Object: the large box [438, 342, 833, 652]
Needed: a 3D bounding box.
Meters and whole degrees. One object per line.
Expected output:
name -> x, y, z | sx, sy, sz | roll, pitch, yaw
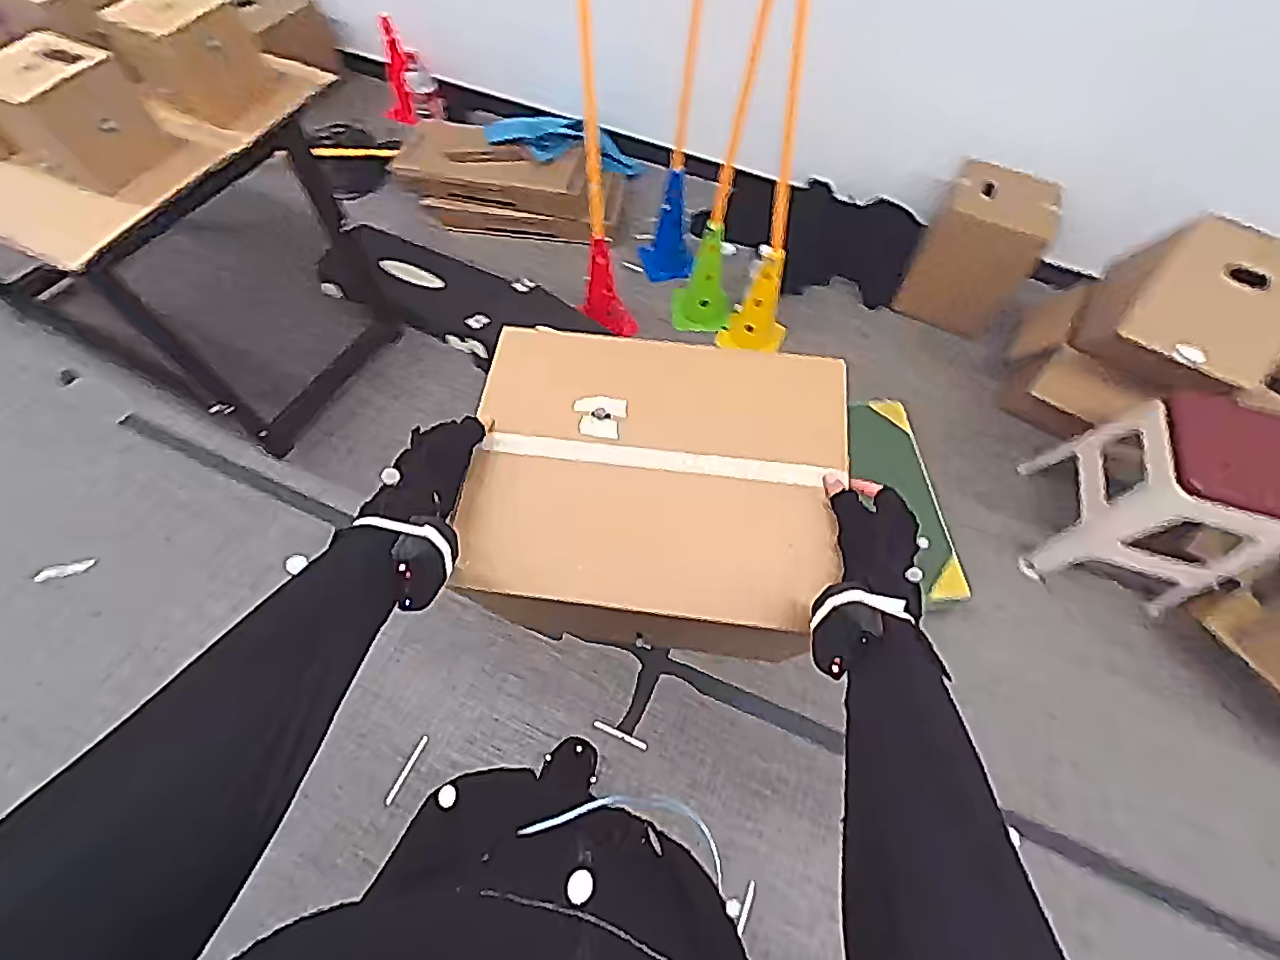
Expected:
large box -> 0.014, 0.044, 0.728 | 0.408, 0.320, 0.320 | 6, 67, 5
